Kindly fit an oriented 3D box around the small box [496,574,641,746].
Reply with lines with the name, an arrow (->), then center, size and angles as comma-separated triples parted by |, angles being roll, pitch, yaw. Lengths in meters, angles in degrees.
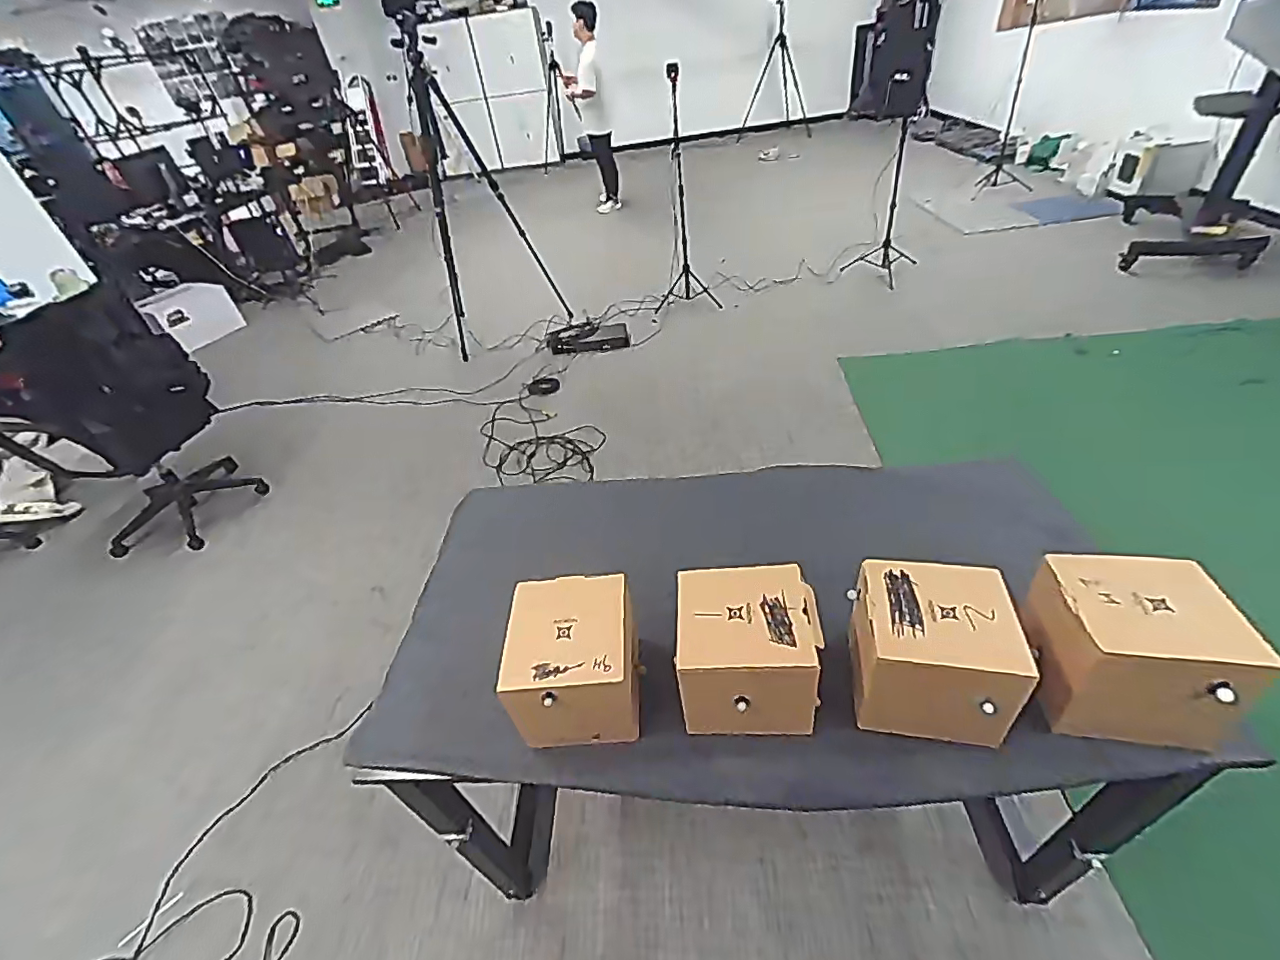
small box -> -0.092, 0.263, 0.793 | 0.168, 0.176, 0.179 | -6, 40, 5
